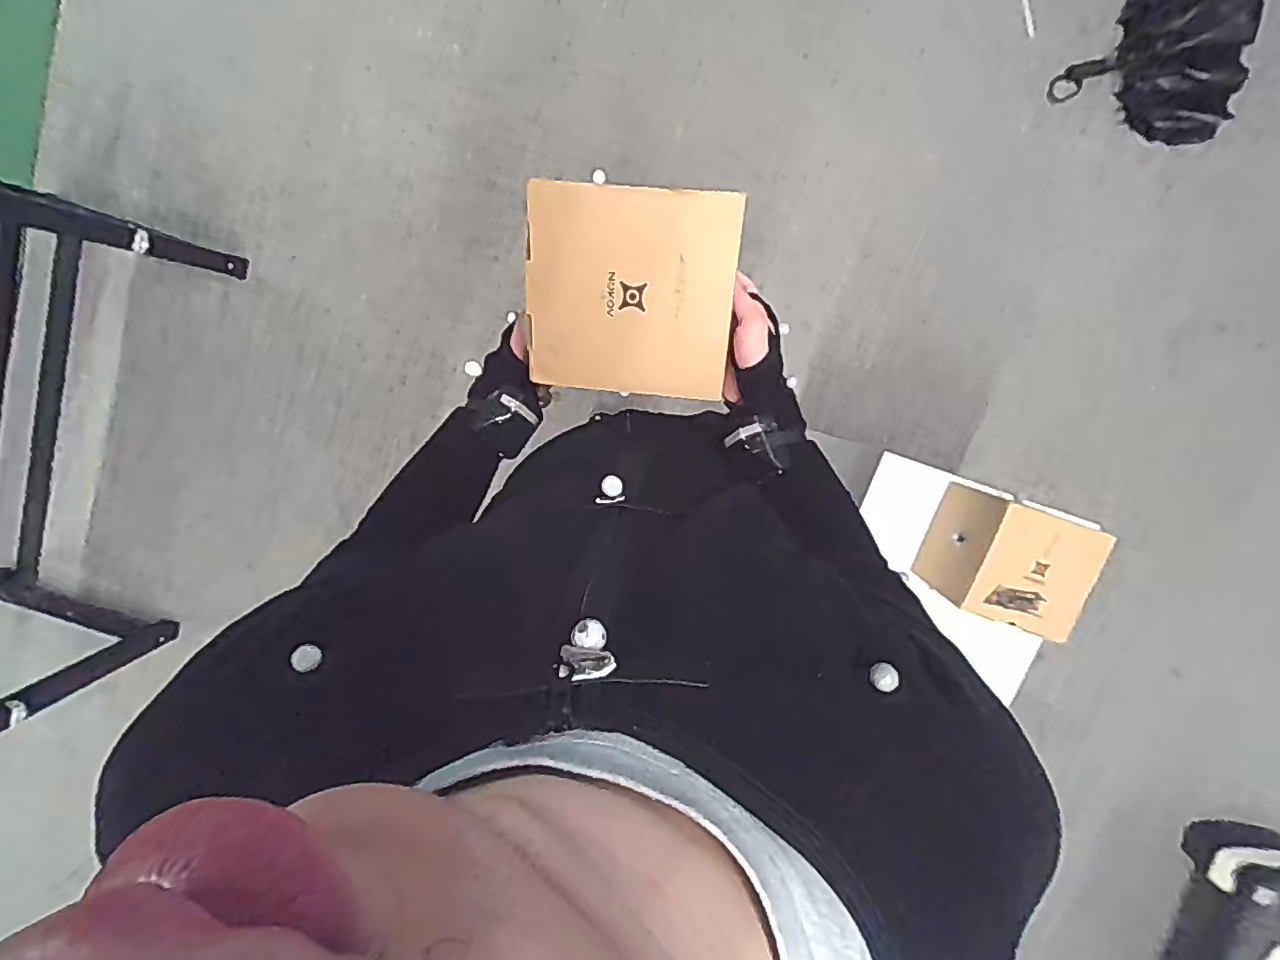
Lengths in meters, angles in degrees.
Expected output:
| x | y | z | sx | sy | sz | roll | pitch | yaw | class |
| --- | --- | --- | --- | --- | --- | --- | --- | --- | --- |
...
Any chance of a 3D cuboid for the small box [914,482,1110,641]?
| x | y | z | sx | sy | sz | roll | pitch | yaw | class |
| --- | --- | --- | --- | --- | --- | --- | --- | --- | --- |
| 0.574 | 0.121 | 0.866 | 0.168 | 0.176 | 0.179 | 19 | 100 | -2 | small box |
